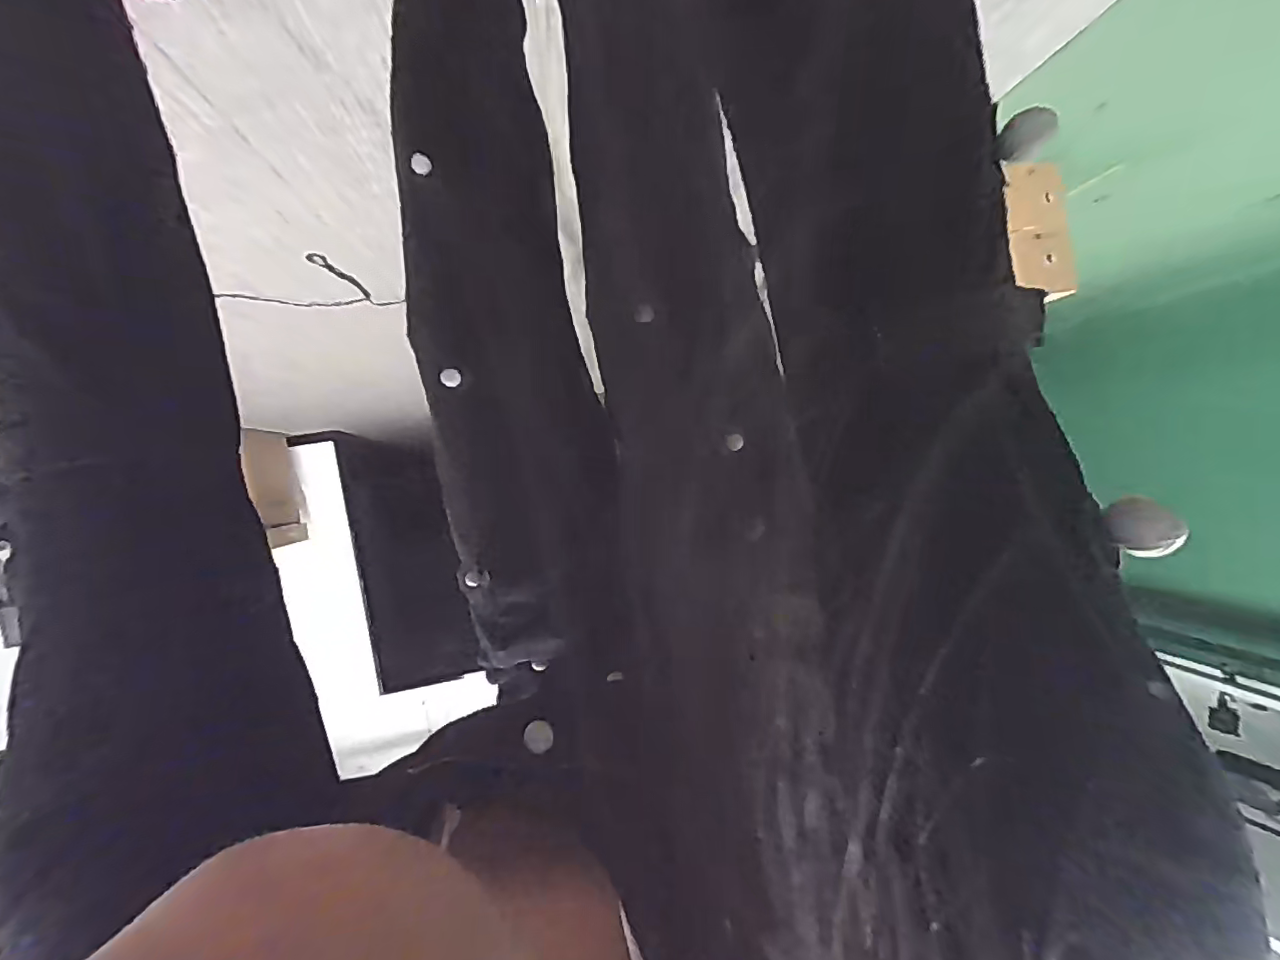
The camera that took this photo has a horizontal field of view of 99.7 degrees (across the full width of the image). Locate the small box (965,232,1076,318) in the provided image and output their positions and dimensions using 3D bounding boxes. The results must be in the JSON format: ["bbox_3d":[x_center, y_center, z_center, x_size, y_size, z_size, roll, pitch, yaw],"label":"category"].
[{"bbox_3d":[0.994,-0.542,1.427,0.168,0.176,0.179,-9,-177,-13],"label":"small box"}]
